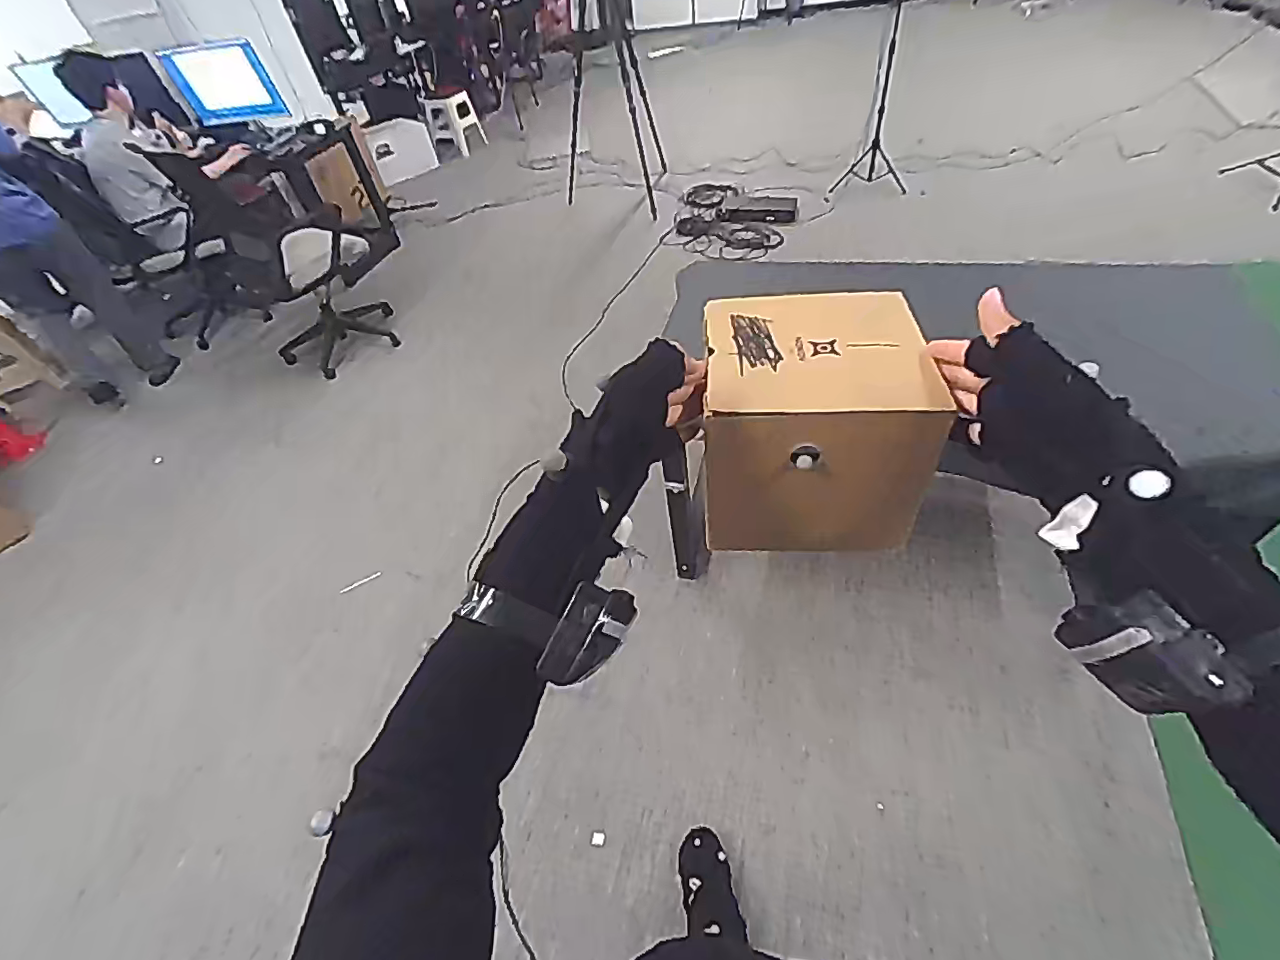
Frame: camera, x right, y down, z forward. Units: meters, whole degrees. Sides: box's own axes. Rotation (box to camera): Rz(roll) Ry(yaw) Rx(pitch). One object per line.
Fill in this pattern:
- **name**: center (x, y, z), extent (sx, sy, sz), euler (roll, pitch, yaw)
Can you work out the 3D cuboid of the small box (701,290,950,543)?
- **small box**: center (0.148, -0.055, 0.499), extent (0.179, 0.176, 0.168), euler (0, 47, 7)
